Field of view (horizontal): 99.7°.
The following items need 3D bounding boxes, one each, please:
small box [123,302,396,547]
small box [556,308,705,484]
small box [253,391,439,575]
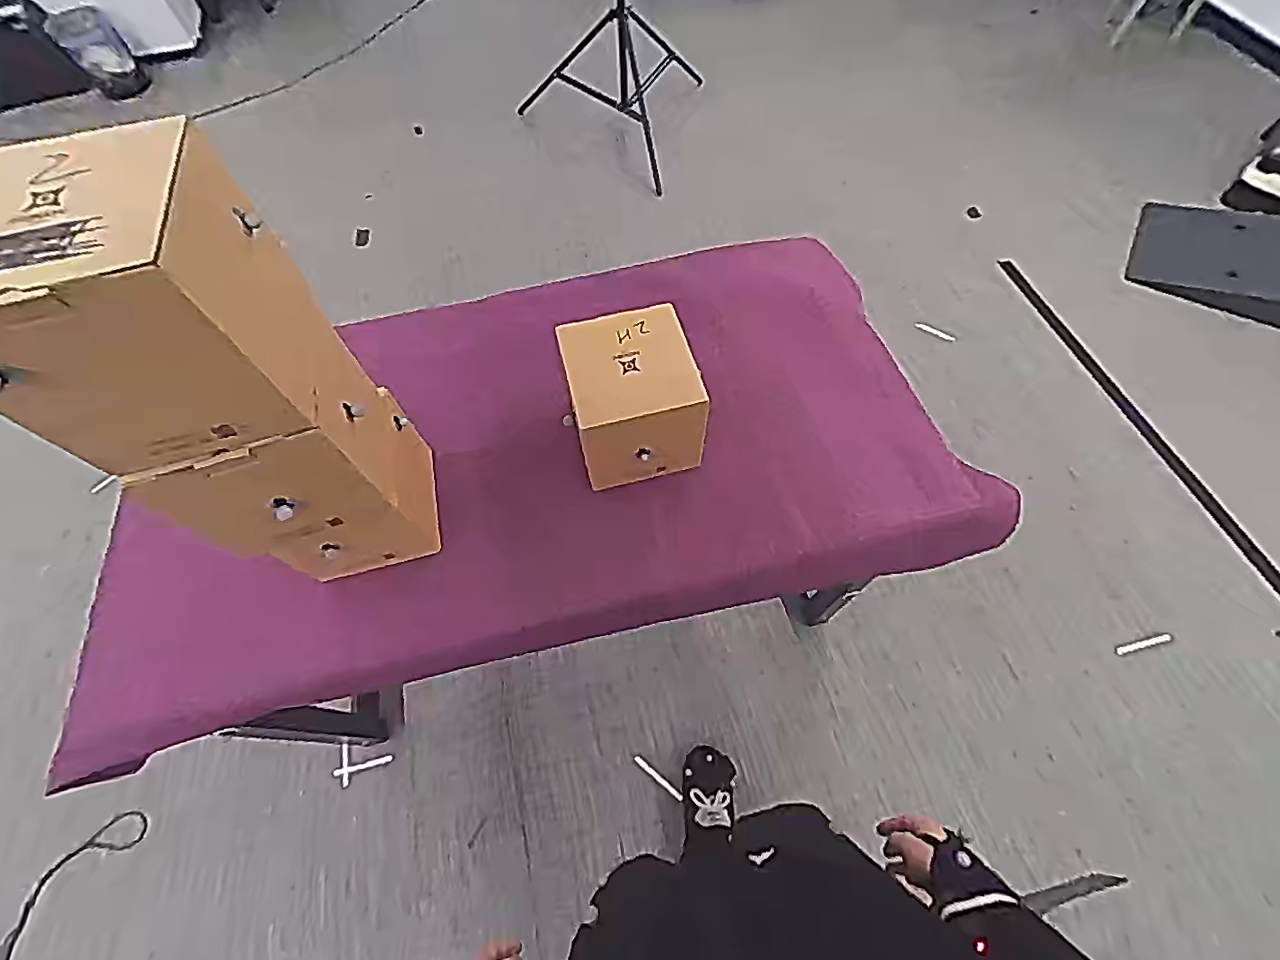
[{"bbox_3d":[-0.375,-0.045,0.564,0.168,0.176,0.179,-18,63,-8],"label":"small box"},{"bbox_3d":[-0.013,-0.109,0.770,0.168,0.176,0.179,-13,62,-6],"label":"small box"},{"bbox_3d":[-0.380,0.014,0.718,0.168,0.176,0.179,-14,62,-6],"label":"small box"}]
